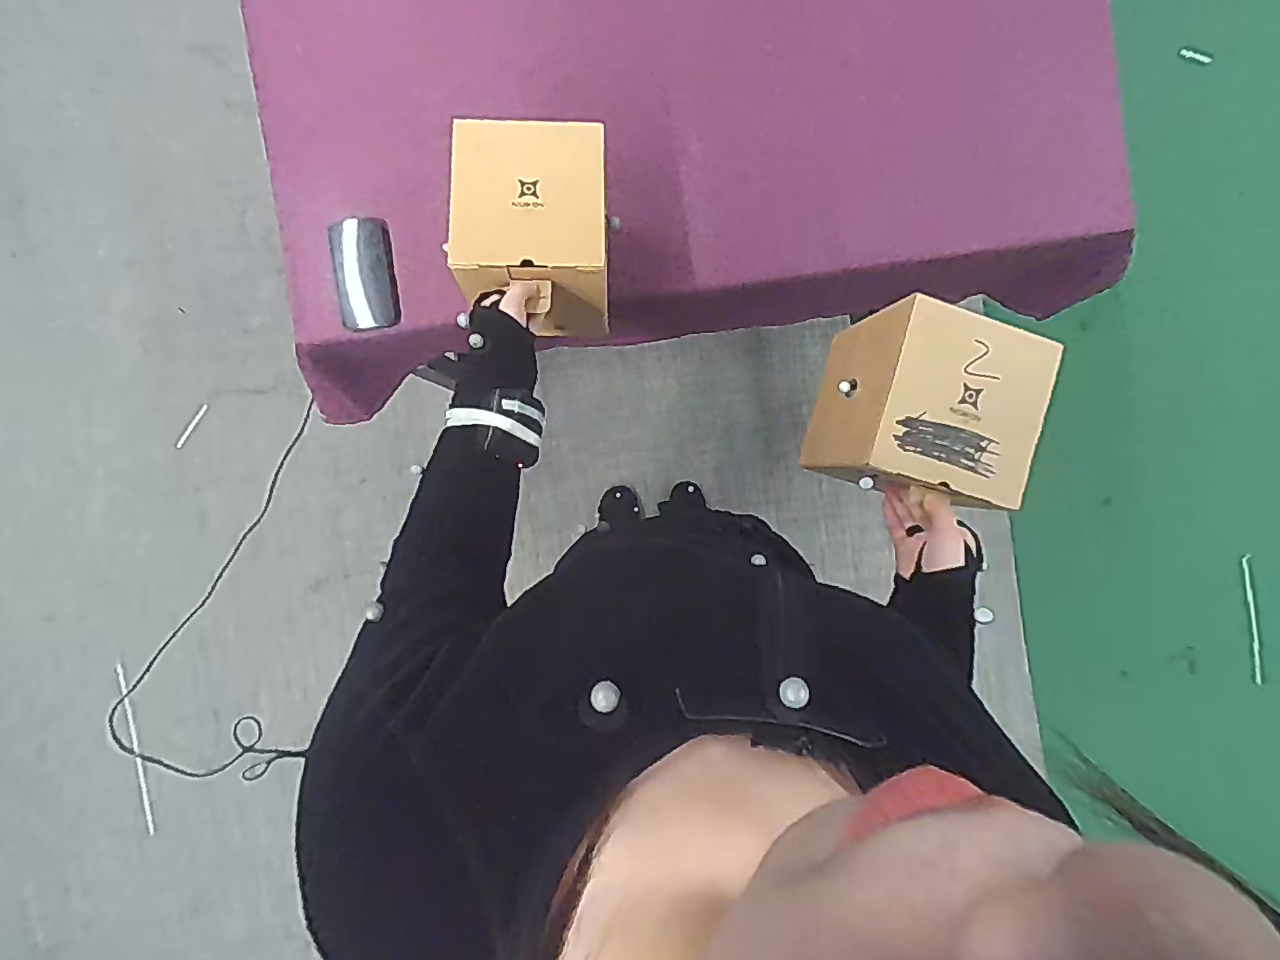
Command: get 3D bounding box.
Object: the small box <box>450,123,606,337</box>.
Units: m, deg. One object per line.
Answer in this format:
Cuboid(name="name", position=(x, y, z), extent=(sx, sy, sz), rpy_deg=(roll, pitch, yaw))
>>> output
Cuboid(name="small box", position=(-0.127, -0.296, 0.668), extent=(0.168, 0.176, 0.179), rpy_deg=(0, 81, -4))
